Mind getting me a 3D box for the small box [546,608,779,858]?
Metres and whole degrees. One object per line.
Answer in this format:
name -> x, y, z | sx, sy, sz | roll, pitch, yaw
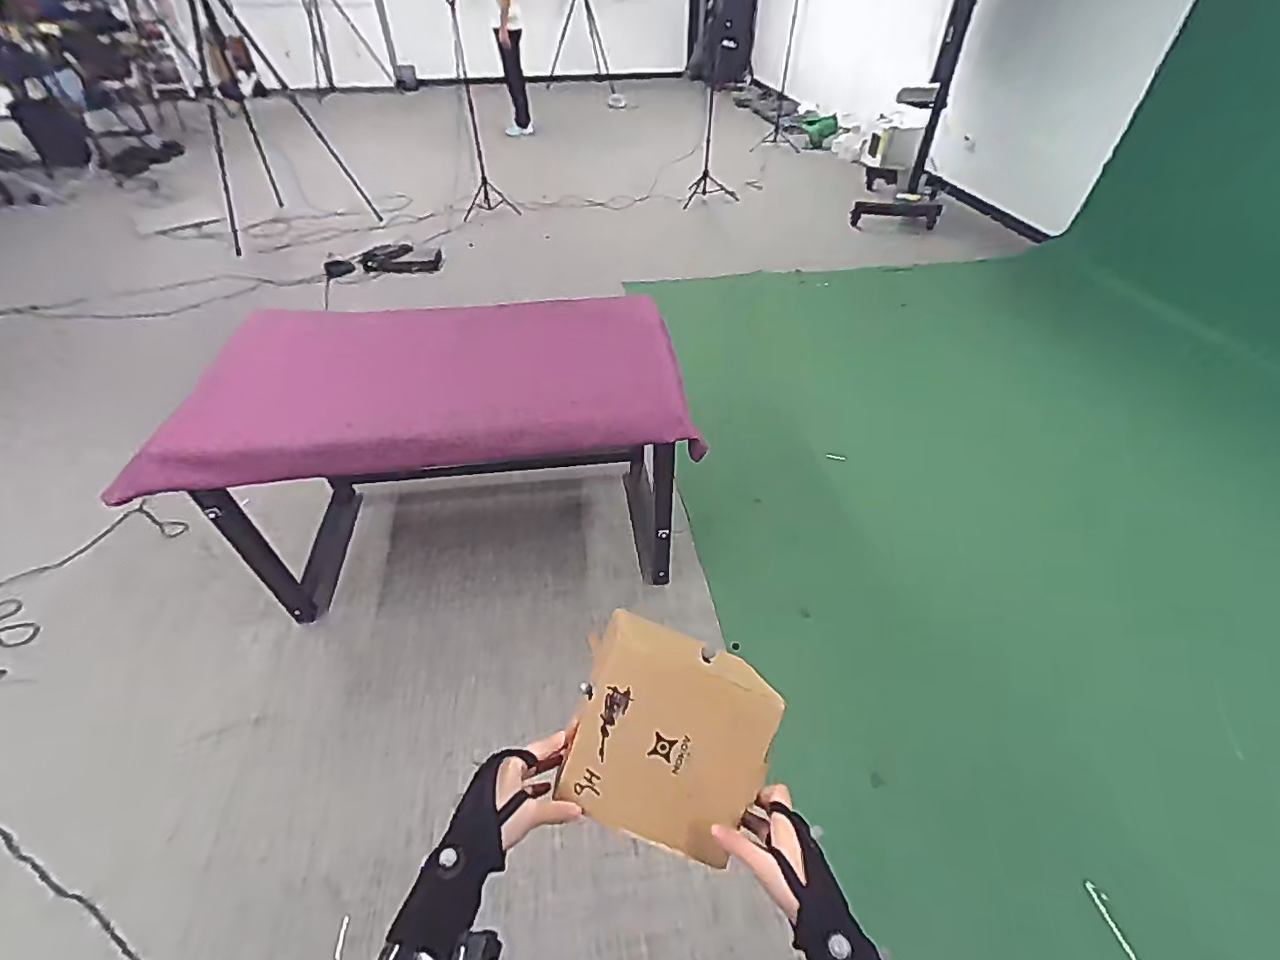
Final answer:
small box -> 0.018, 0.249, 0.581 | 0.179, 0.176, 0.168 | 22, 83, -1
